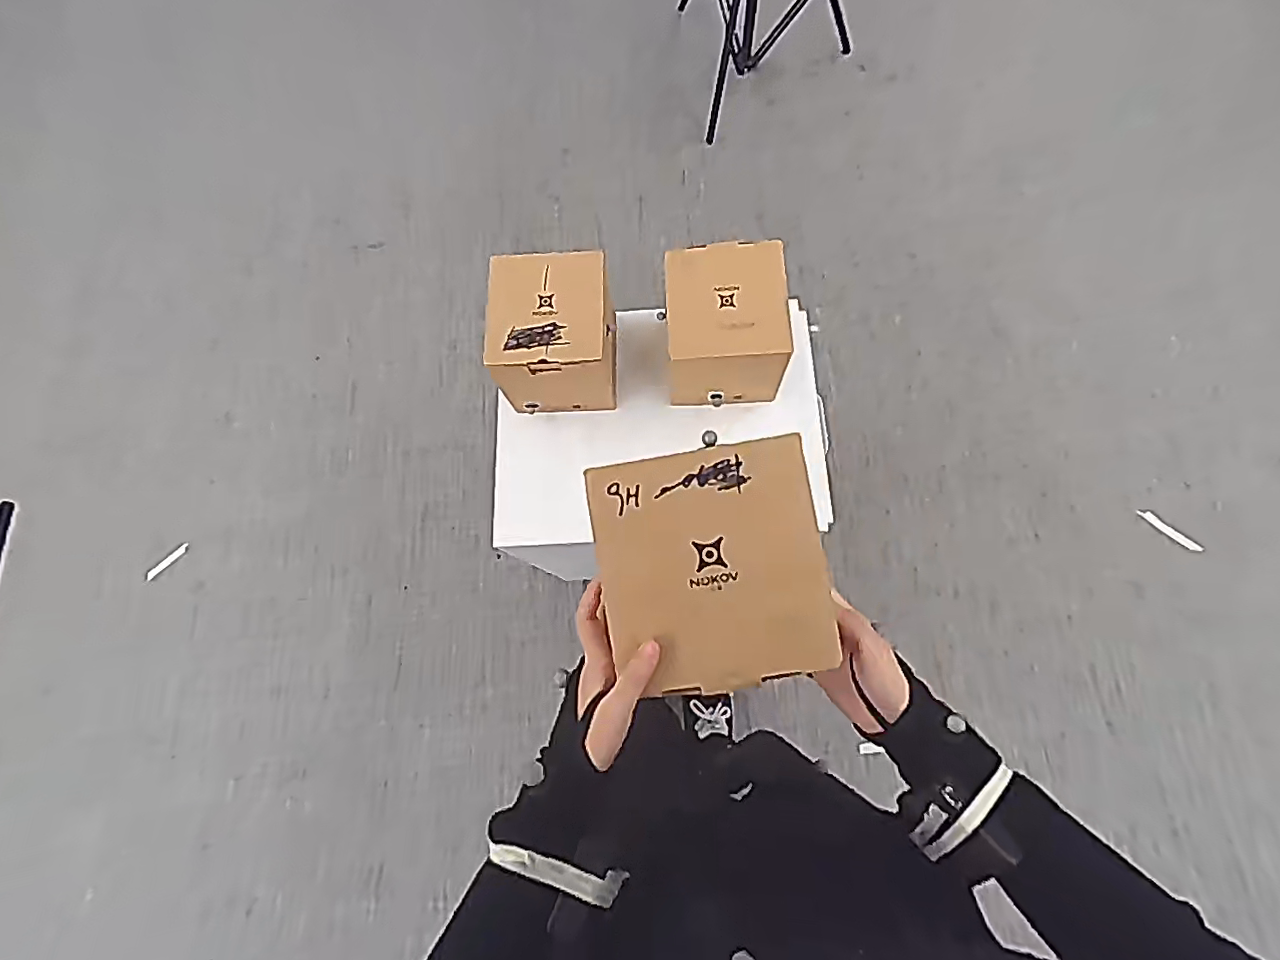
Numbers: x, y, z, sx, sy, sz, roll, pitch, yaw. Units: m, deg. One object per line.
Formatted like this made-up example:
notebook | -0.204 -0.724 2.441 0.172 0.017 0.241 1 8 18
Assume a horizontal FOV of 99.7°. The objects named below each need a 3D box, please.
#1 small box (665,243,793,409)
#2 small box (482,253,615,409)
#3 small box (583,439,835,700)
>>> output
small box | 0.123 -0.222 0.808 0.168 0.176 0.179 -3 76 4
small box | -0.127 -0.213 0.820 0.168 0.176 0.179 -1 74 3
small box | 0.054 0.067 0.477 0.168 0.176 0.179 -9 88 2
